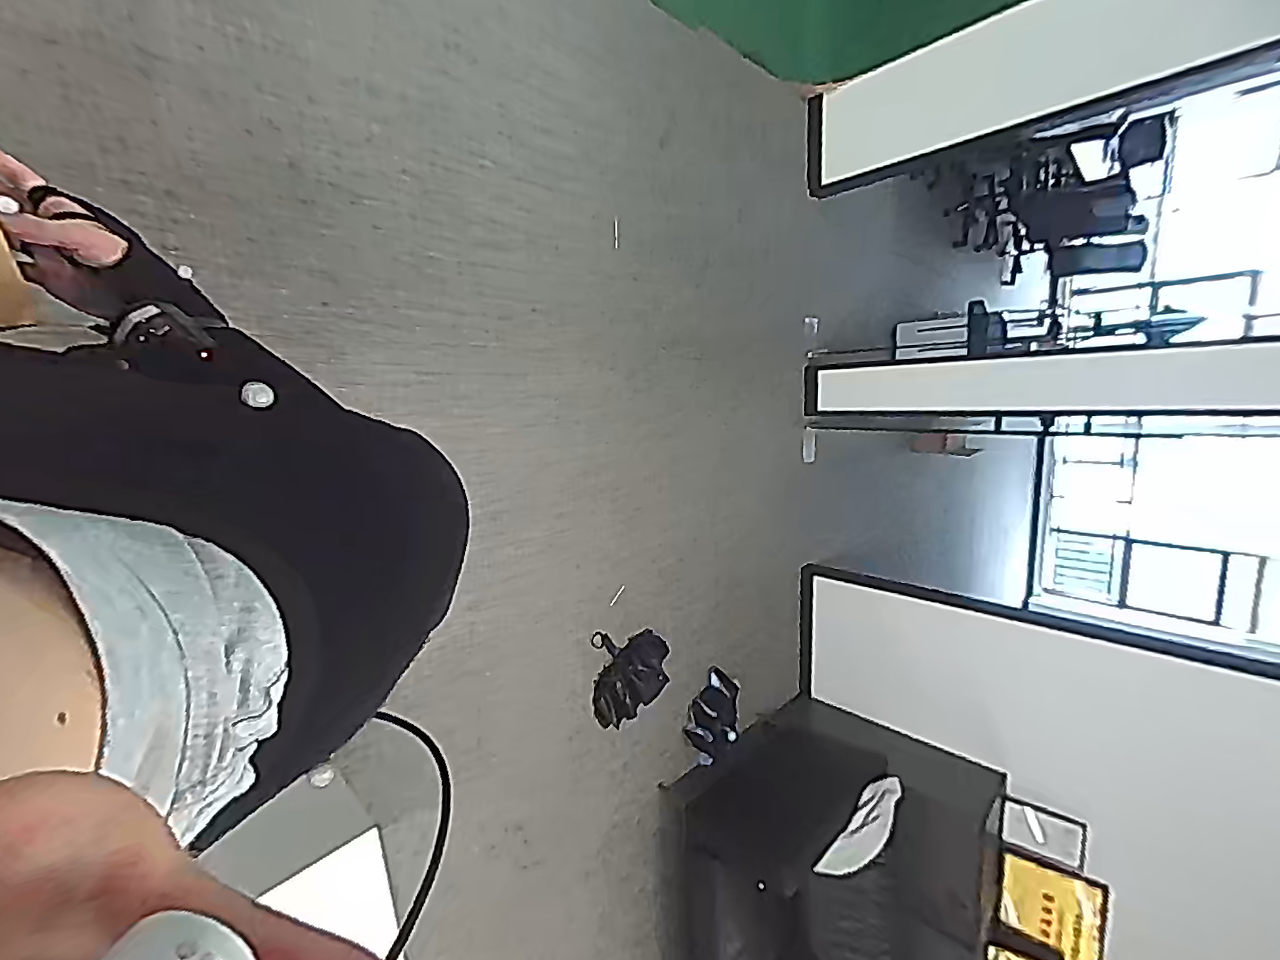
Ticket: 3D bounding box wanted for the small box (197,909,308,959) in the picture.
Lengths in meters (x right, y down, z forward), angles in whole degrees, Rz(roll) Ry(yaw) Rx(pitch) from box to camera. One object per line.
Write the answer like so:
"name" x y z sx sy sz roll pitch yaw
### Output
"small box" -0.572 0.800 0.795 0.168 0.176 0.179 -21 110 -42
